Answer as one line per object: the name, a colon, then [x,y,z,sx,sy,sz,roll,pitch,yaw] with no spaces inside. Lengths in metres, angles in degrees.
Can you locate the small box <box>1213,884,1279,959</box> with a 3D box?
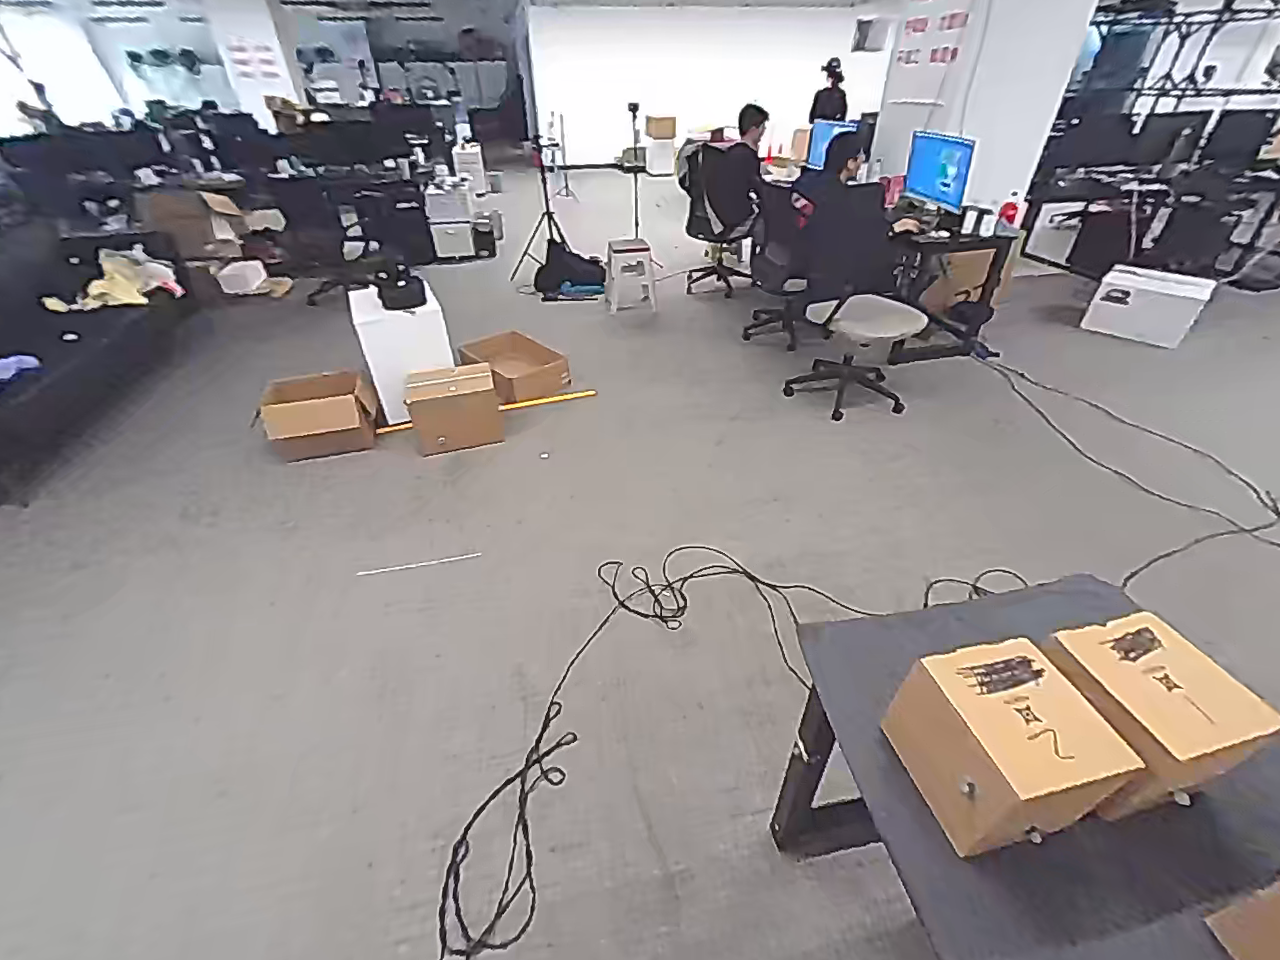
small box: [0.721,0.475,0.496,0.168,0.176,0.179,-5,37,-6]
